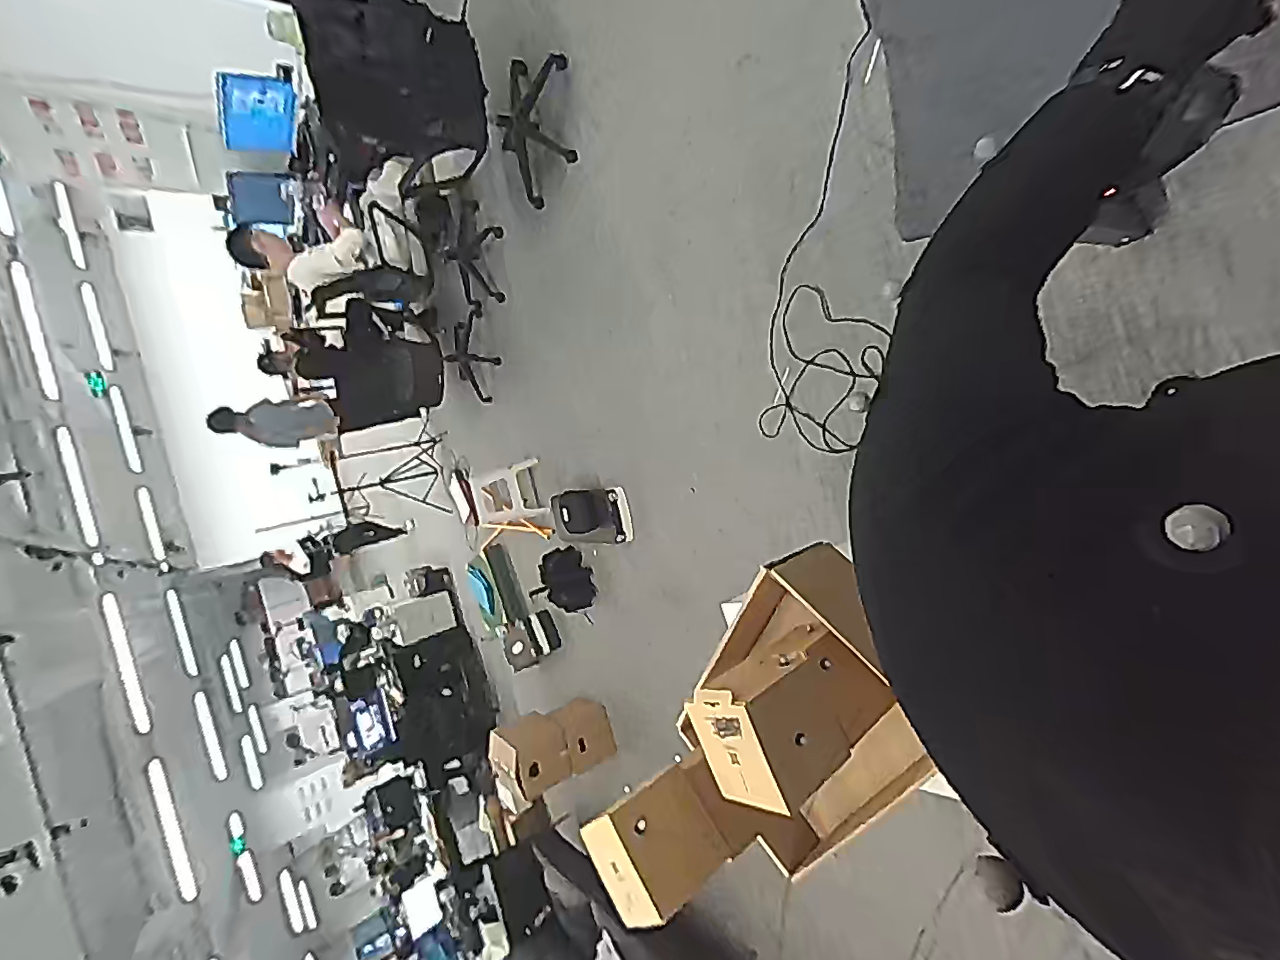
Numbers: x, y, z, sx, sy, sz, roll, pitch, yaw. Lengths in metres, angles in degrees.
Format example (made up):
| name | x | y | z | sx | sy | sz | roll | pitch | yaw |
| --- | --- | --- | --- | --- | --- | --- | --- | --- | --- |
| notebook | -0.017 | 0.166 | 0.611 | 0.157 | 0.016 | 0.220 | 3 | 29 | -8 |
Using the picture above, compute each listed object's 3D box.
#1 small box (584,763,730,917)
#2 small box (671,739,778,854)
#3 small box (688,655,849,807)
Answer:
| name | x | y | z | sx | sy | sz | roll | pitch | yaw |
| --- | --- | --- | --- | --- | --- | --- | --- | --- | --- |
| small box | 0.029 | 0.650 | 0.993 | 0.179 | 0.176 | 0.168 | 54 | 140 | 22 |
| small box | 0.155 | 0.629 | 1.100 | 0.168 | 0.176 | 0.179 | 56 | 139 | 19 |
| small box | 0.220 | 0.413 | 0.929 | 0.168 | 0.176 | 0.179 | -30 | 82 | 55 |
